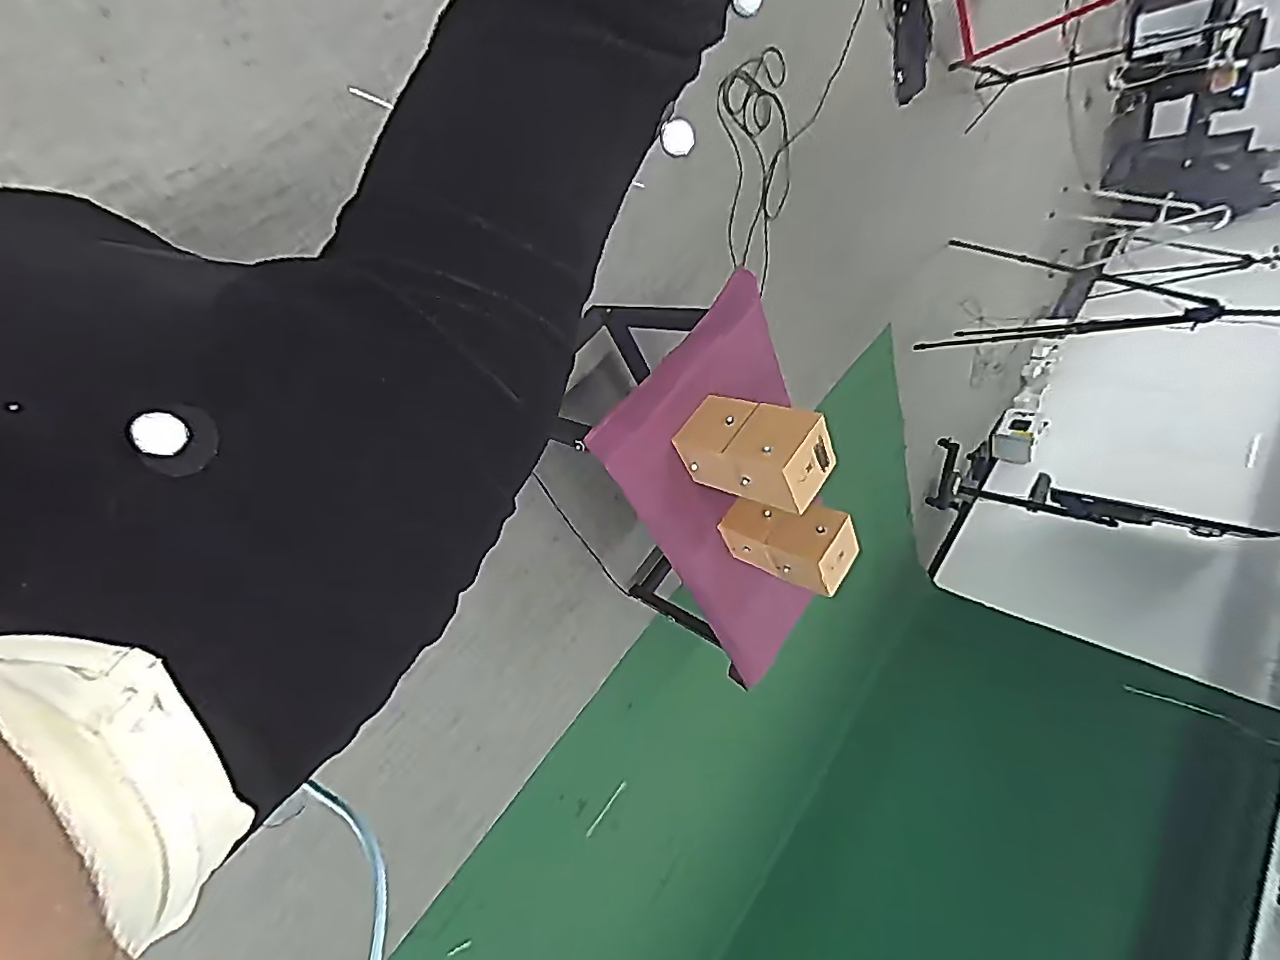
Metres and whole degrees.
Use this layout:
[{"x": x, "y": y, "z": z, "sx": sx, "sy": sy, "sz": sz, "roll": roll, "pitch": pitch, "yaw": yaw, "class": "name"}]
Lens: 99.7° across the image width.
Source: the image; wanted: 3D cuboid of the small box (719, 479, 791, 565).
[{"x": 0.358, "y": 0.122, "z": 1.629, "sx": 0.179, "sy": 0.176, "sz": 0.168, "roll": -51, "pitch": 133, "yaw": -21, "class": "small box"}]

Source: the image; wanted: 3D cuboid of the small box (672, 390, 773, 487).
[{"x": 0.213, "y": -0.114, "z": 1.398, "sx": 0.179, "sy": 0.176, "sz": 0.168, "roll": -51, "pitch": 133, "yaw": -19, "class": "small box"}]

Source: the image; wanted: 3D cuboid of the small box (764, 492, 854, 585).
[{"x": 0.475, "y": 0.158, "z": 1.518, "sx": 0.179, "sy": 0.176, "sz": 0.168, "roll": -50, "pitch": 132, "yaw": -21, "class": "small box"}]
